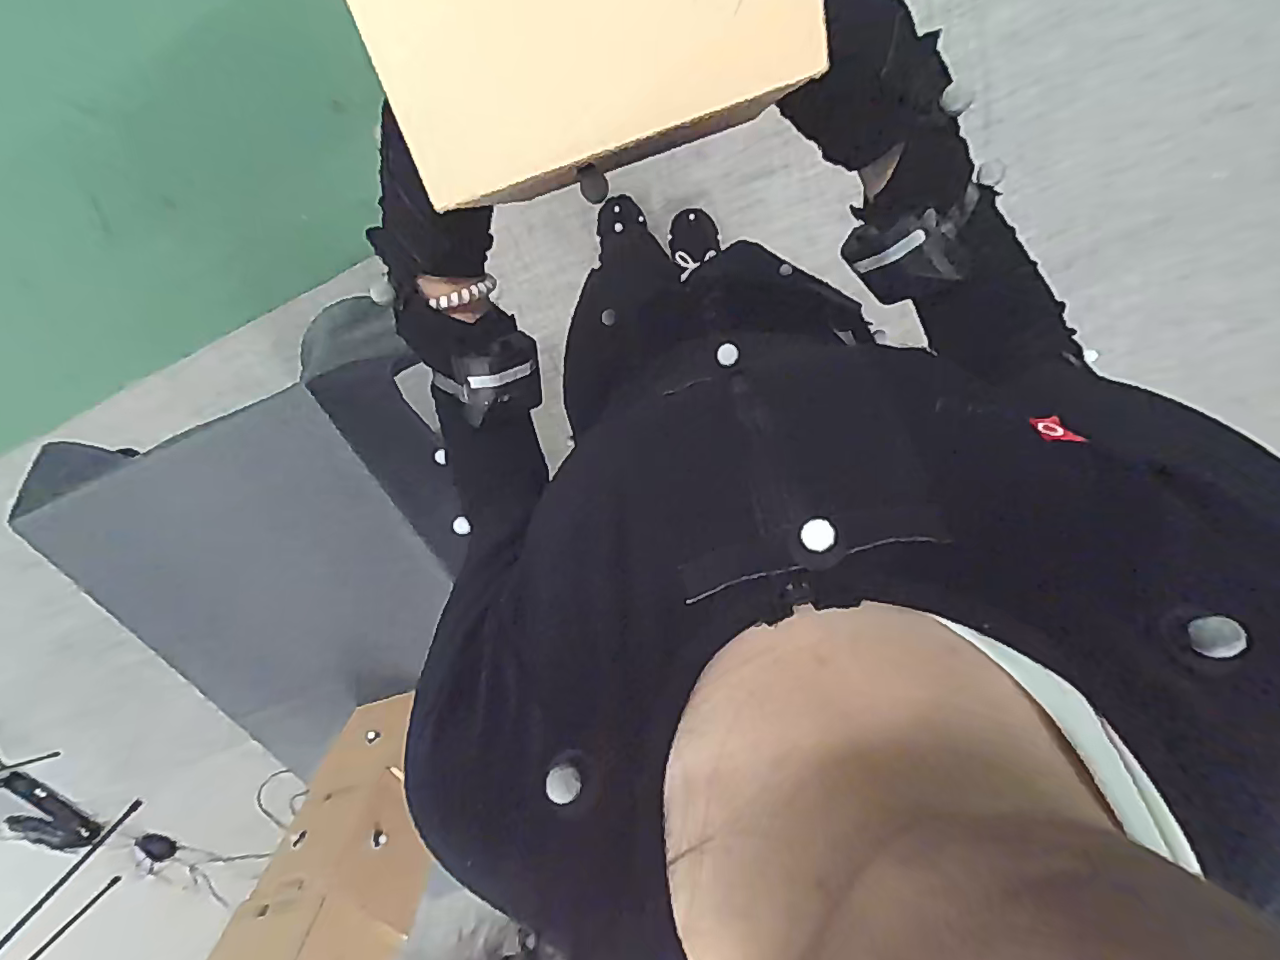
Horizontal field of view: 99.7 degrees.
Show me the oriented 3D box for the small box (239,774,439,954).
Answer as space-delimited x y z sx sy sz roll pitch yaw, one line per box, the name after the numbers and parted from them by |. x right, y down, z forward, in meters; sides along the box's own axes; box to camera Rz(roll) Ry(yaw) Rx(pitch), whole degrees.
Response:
-0.451 0.585 0.841 0.168 0.176 0.179 -21 115 14 | small box

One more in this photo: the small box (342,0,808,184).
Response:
-0.035 -0.254 0.244 0.168 0.176 0.179 -14 116 10 | small box

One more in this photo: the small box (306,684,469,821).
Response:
-0.444 0.505 0.983 0.179 0.176 0.168 -20 116 11 | small box
